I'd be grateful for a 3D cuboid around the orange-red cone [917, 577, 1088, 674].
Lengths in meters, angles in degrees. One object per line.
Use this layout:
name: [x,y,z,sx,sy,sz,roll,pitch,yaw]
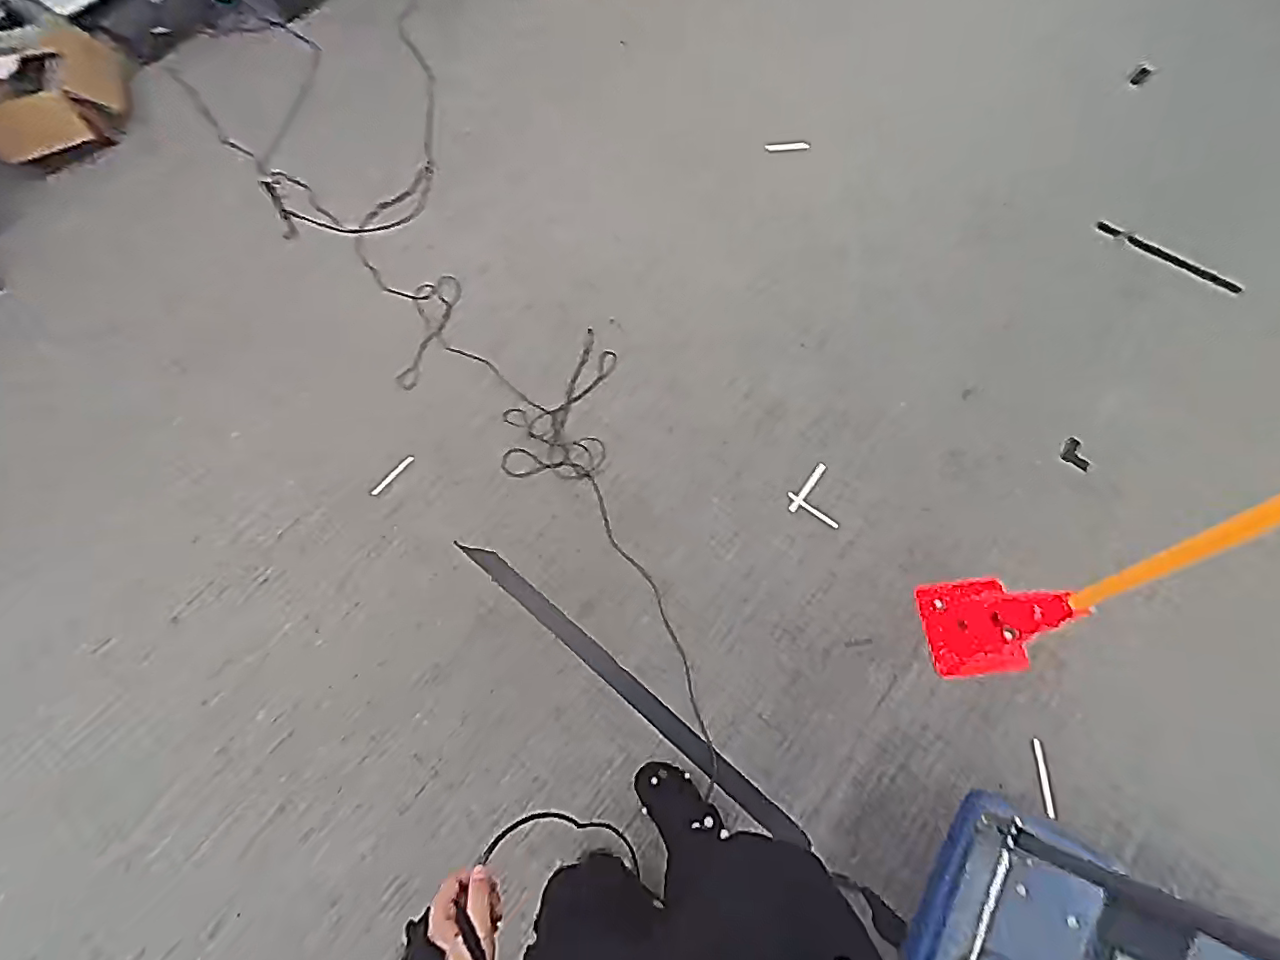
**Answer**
orange-red cone: [0.717,0.259,1.034,0.198,0.360,0.199,-7,70,2]
